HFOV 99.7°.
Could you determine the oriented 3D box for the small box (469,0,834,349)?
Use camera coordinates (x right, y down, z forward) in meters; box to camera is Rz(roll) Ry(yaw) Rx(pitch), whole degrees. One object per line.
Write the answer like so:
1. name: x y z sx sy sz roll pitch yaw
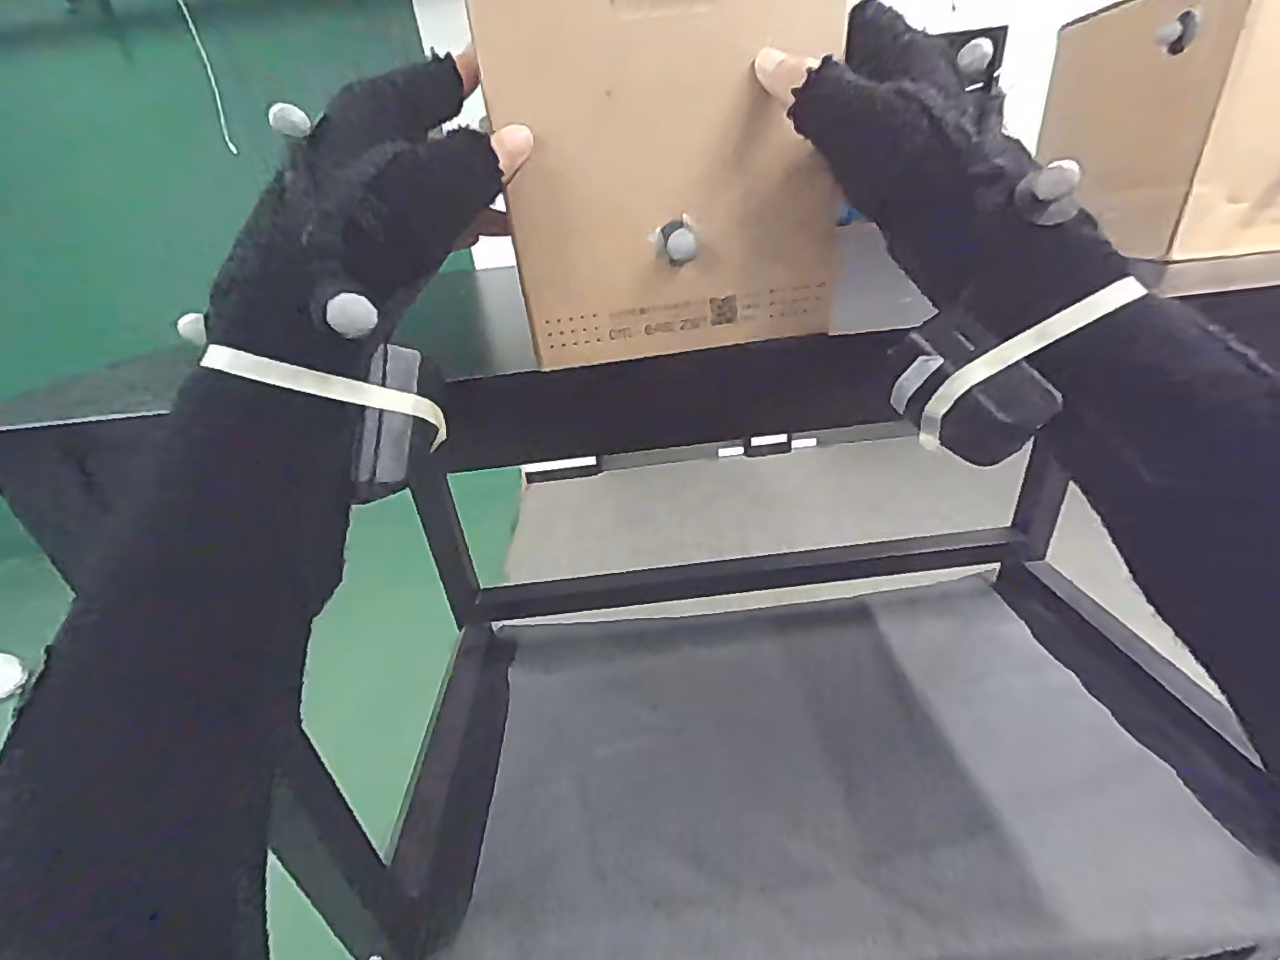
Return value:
1. small box: 0.005 -0.188 0.342 0.168 0.176 0.179 -9 27 -3
